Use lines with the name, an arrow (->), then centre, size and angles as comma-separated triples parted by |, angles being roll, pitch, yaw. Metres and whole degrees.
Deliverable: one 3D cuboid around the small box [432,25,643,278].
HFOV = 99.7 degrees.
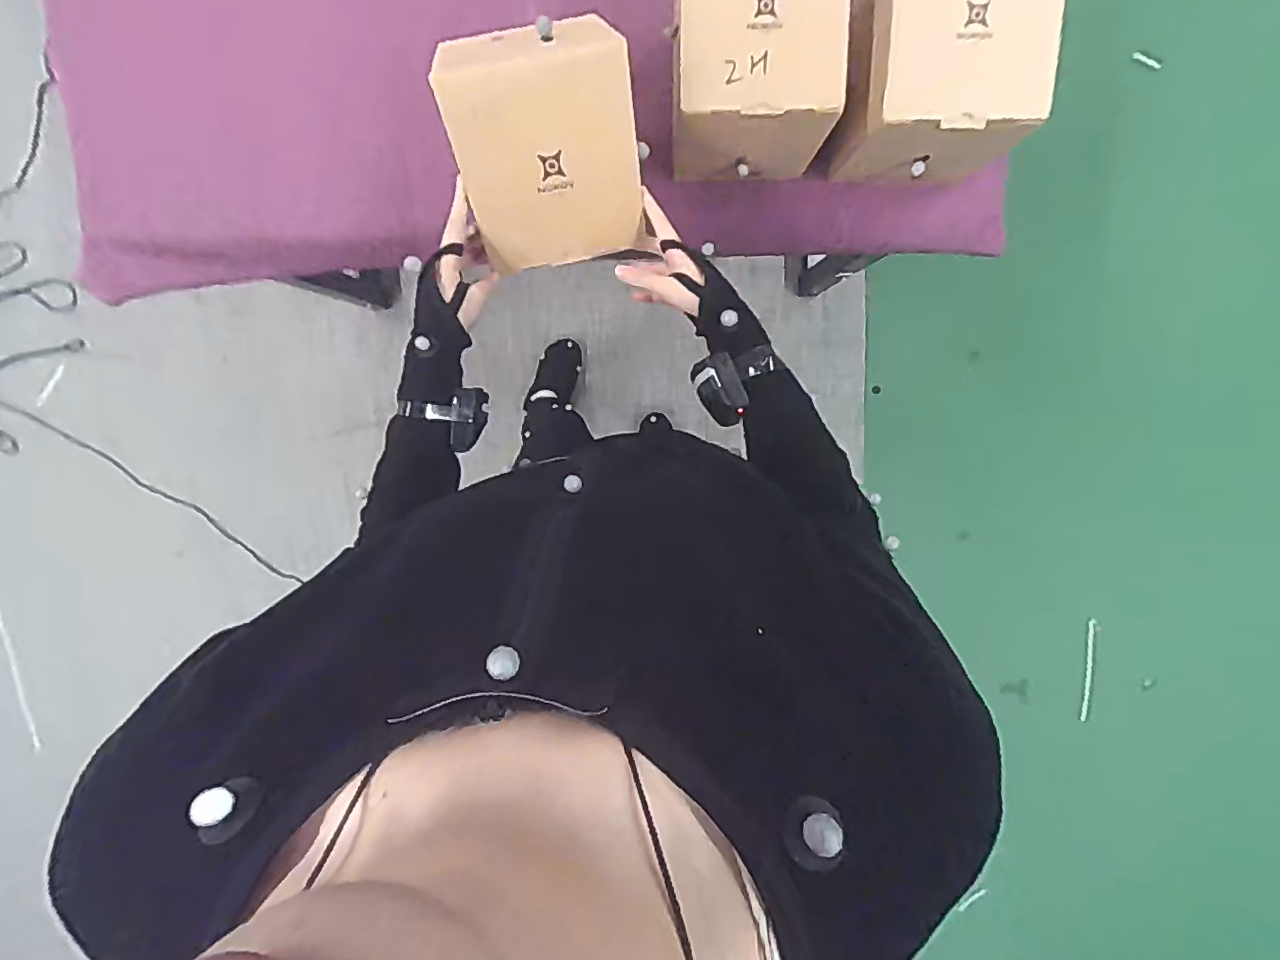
small box -> -0.100, -0.341, 0.556 | 0.168, 0.176, 0.179 | -13, 139, -3
